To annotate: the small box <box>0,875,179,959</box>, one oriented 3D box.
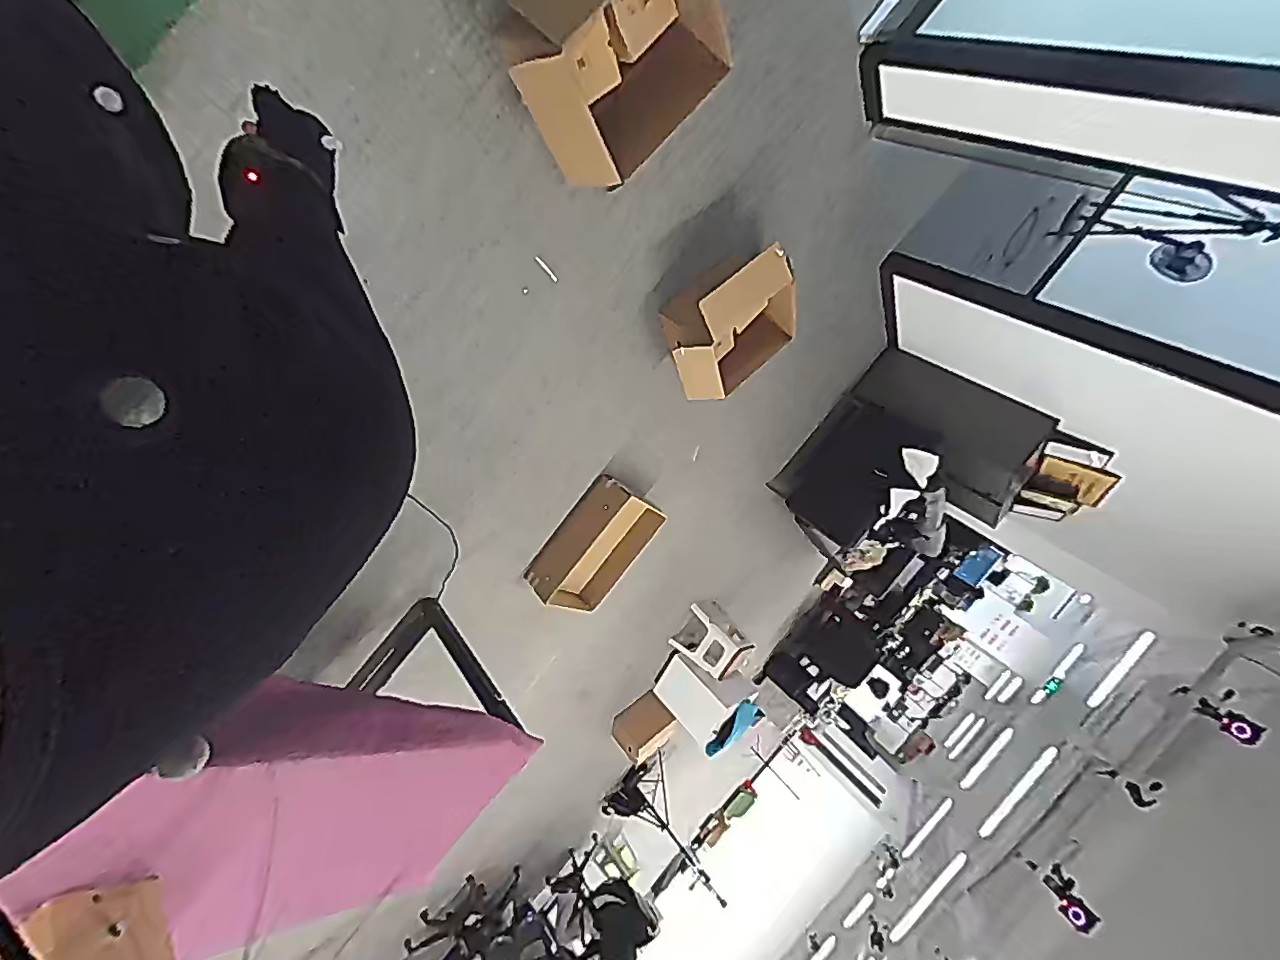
[{"bbox_3d":[-0.913,0.782,0.876,0.179,0.176,0.168,-46,147,-6],"label":"small box"}]
